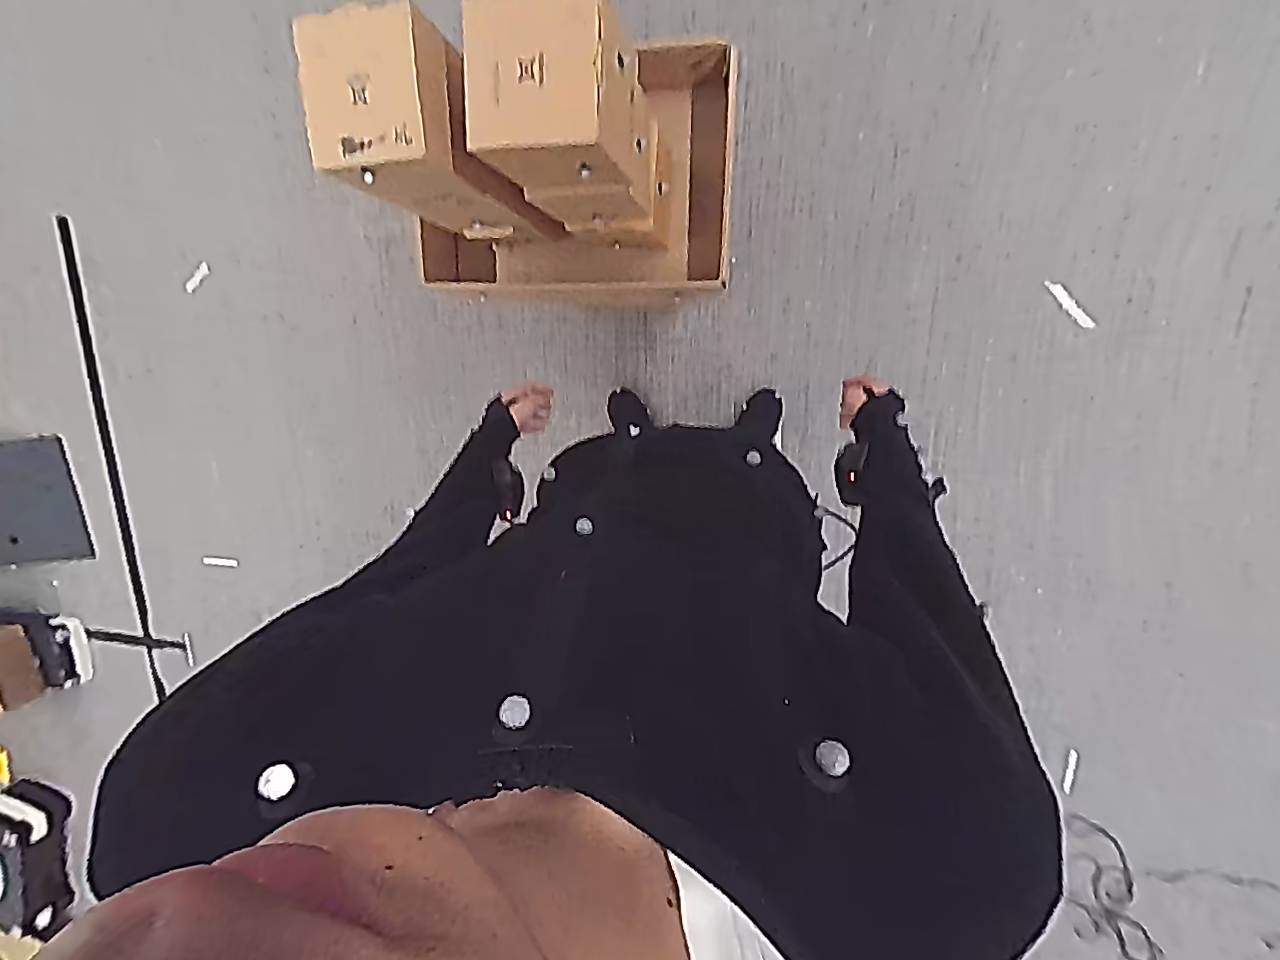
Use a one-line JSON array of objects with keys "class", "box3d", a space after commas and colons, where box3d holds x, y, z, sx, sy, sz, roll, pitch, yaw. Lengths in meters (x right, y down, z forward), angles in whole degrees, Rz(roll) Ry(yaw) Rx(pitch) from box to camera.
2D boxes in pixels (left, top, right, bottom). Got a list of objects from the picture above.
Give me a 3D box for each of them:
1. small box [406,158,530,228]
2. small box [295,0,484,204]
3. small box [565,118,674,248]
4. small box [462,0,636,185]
[{"class": "small box", "box3d": [-0.295, -0.540, 0.906, 0.168, 0.176, 0.179, 1, 103, 11]}, {"class": "small box", "box3d": [-0.333, -0.506, 0.748, 0.168, 0.176, 0.179, 1, 101, 12]}, {"class": "small box", "box3d": [-0.034, -0.551, 1.022, 0.168, 0.176, 0.179, 6, 104, 13]}, {"class": "small box", "box3d": [-0.109, -0.500, 0.707, 0.179, 0.176, 0.168, 6, 103, 14]}]
